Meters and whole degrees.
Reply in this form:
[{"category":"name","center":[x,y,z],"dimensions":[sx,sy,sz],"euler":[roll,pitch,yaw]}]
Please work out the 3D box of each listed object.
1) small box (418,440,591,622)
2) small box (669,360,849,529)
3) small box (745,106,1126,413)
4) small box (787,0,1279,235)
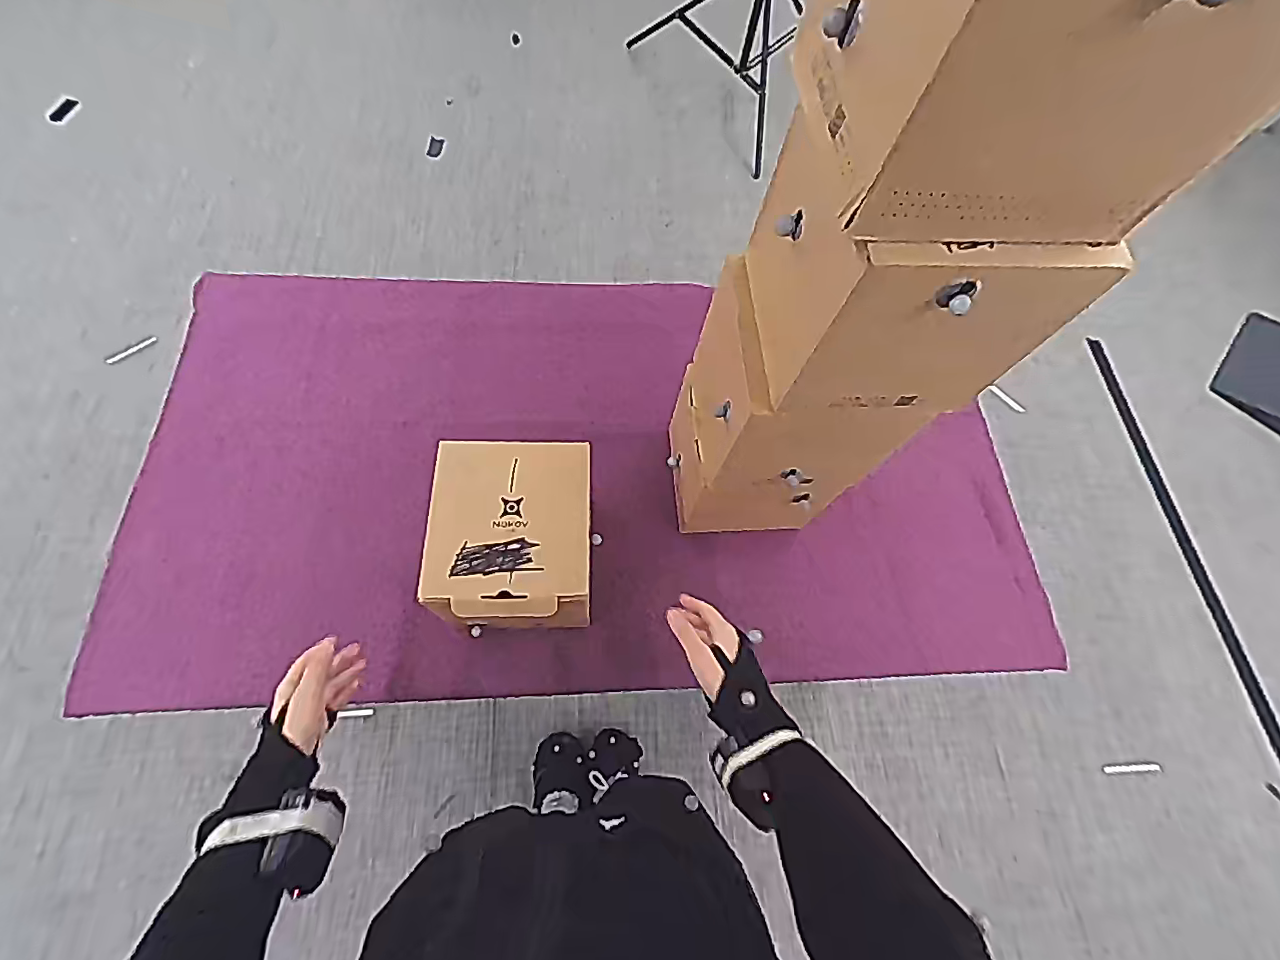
[{"category":"small box","center":[-0.142,0.068,0.635],"dimensions":[0.168,0.176,0.179],"euler":[0,65,-5]},{"category":"small box","center":[0.140,-0.040,0.708],"dimensions":[0.179,0.176,0.168],"euler":[-2,66,-6]},{"category":"small box","center":[0.188,-0.169,0.410],"dimensions":[0.168,0.176,0.179],"euler":[-2,67,-6]},{"category":"small box","center":[0.195,-0.243,0.265],"dimensions":[0.179,0.176,0.168],"euler":[-3,68,-6]}]
